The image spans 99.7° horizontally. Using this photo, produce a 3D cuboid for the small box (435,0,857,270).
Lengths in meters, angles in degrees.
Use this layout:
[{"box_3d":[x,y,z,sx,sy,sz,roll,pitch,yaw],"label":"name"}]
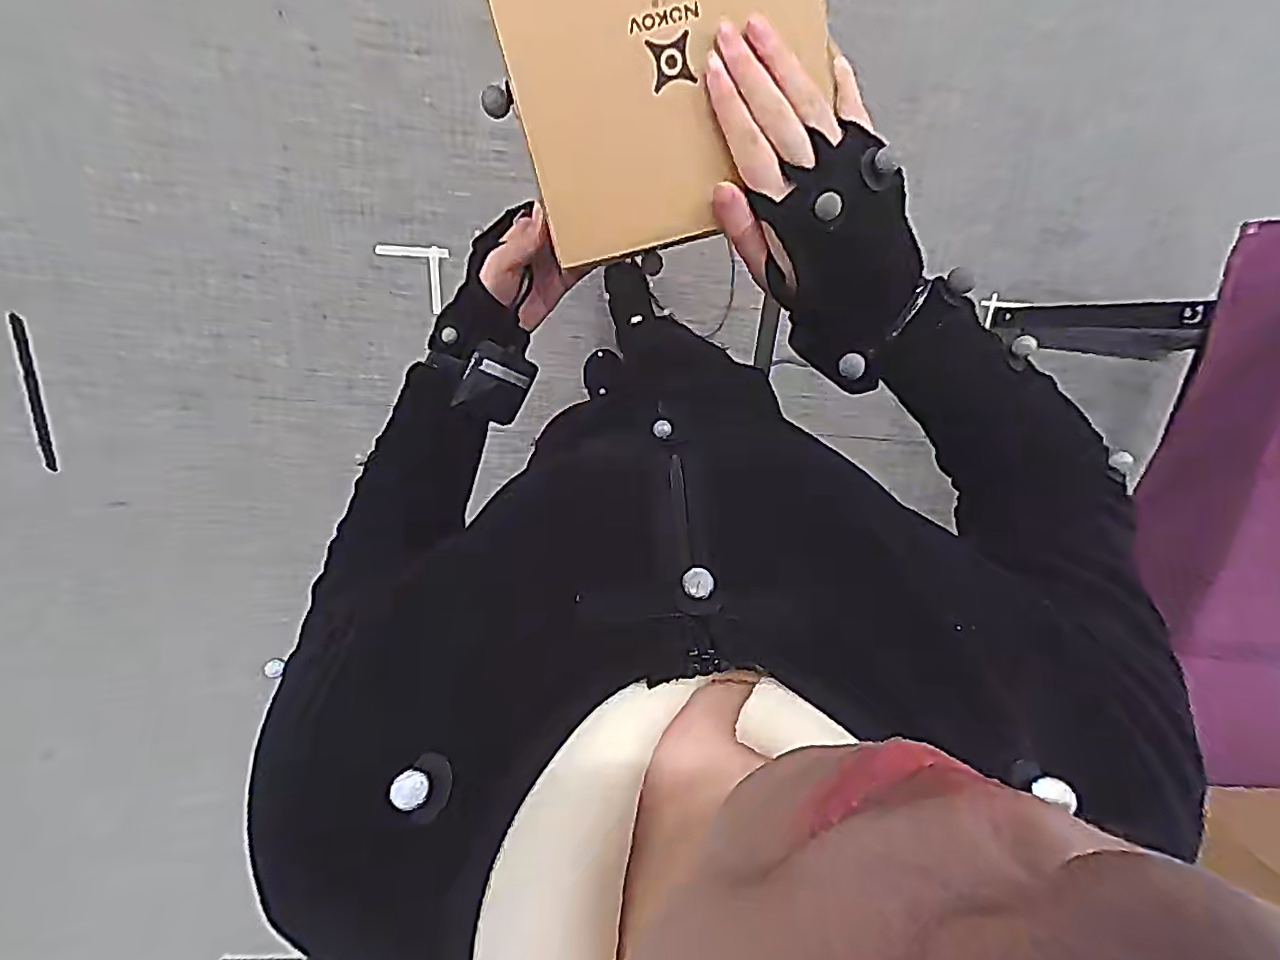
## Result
[{"box_3d":[0.009,-0.245,0.301,0.179,0.176,0.168,-15,91,17],"label":"small box"}]
